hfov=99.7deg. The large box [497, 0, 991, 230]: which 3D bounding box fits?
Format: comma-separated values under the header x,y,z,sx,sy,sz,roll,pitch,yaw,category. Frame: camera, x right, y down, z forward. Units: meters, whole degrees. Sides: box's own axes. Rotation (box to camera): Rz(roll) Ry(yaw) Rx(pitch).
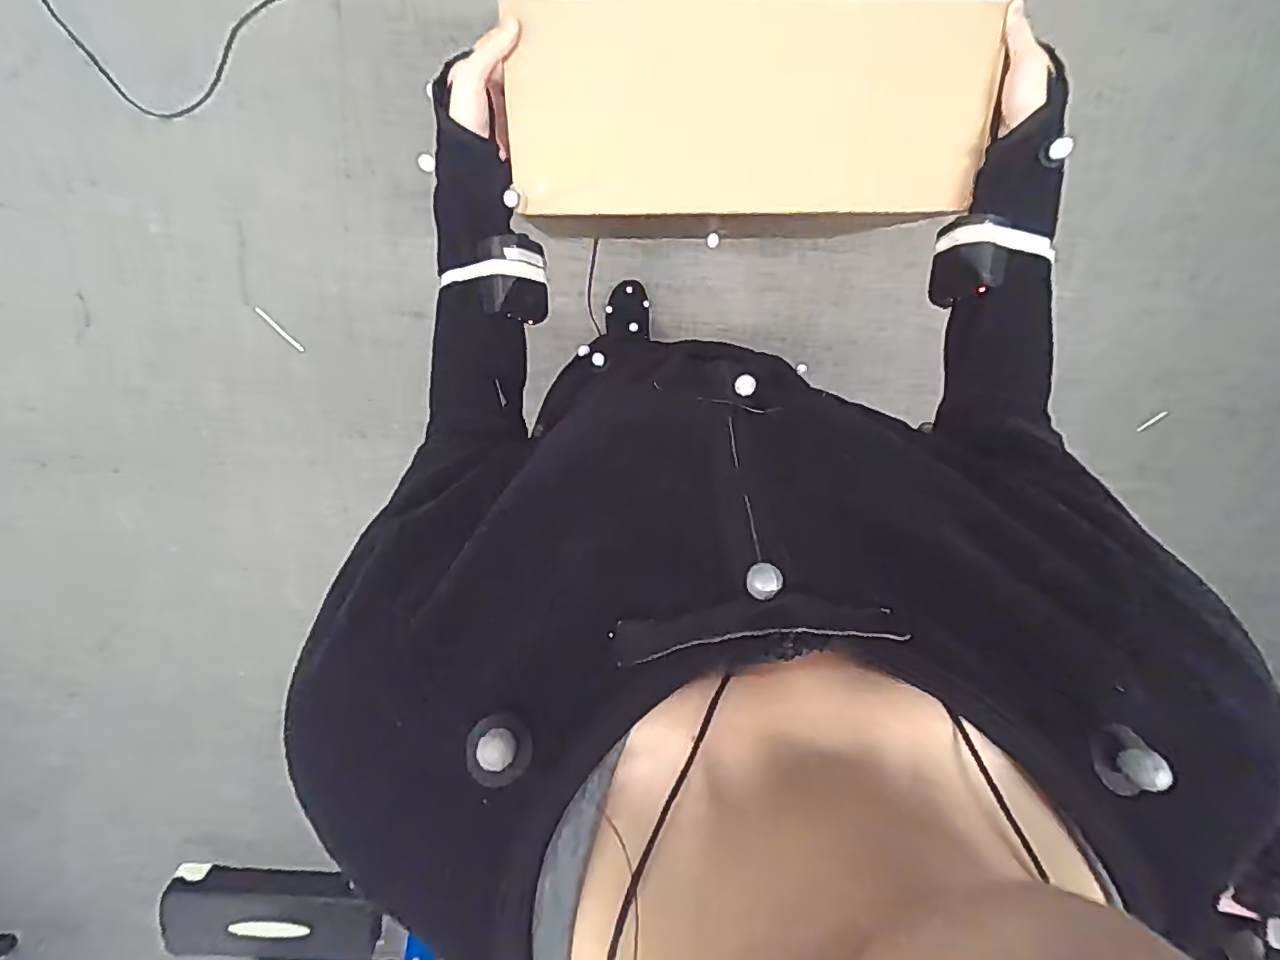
x,y,z,sx,sy,sz,roll,pitch,yaw,category
0.081,-0.440,0.562,0.408,0.320,0.320,-2,110,-2,large box
